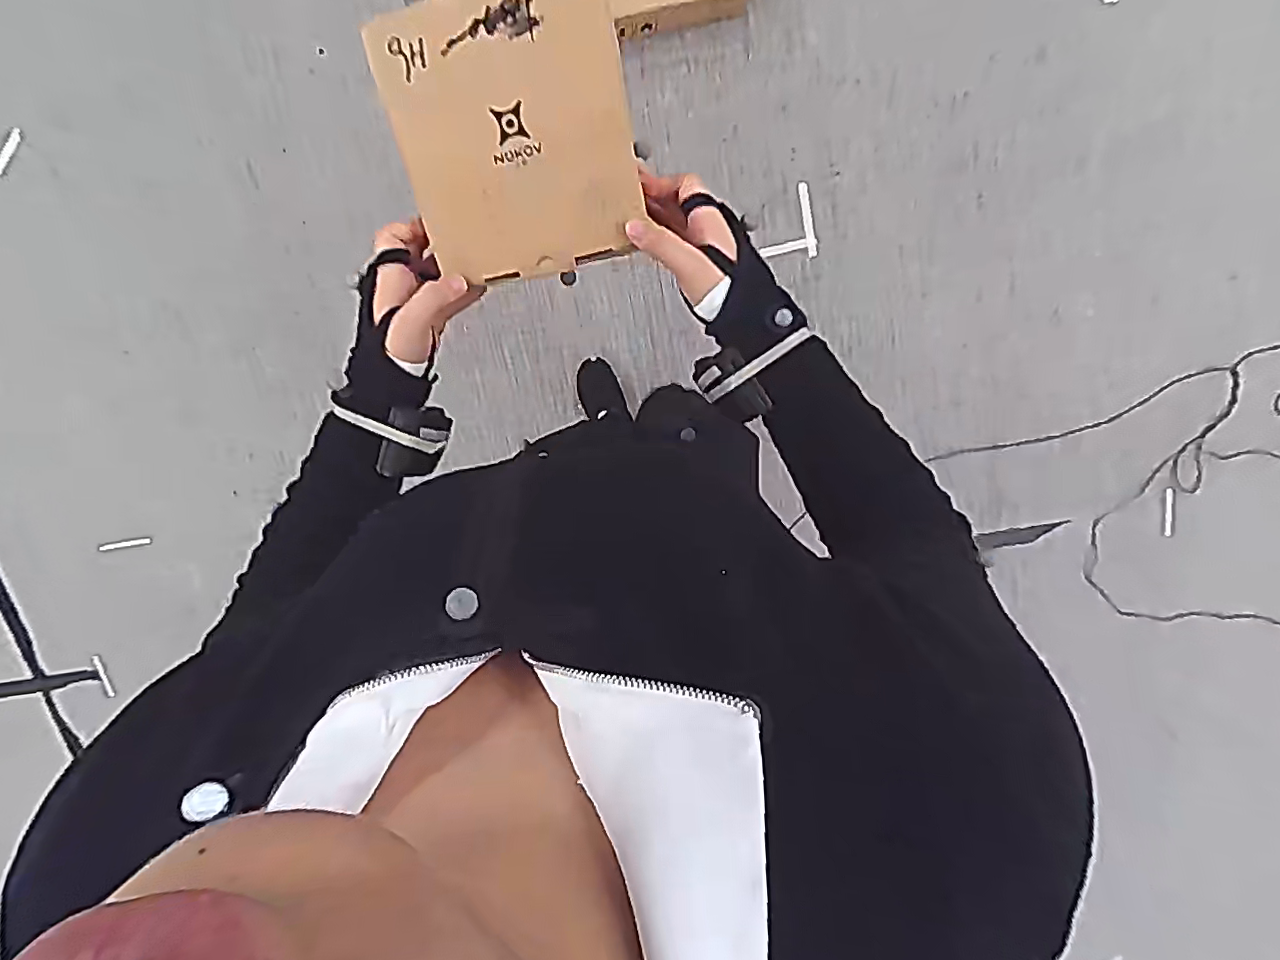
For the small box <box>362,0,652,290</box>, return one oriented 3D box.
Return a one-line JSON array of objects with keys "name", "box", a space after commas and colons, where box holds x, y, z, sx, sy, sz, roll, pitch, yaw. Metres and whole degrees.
[{"name": "small box", "box": [-0.085, -0.273, 0.454, 0.168, 0.176, 0.179, -11, 113, 7]}]
